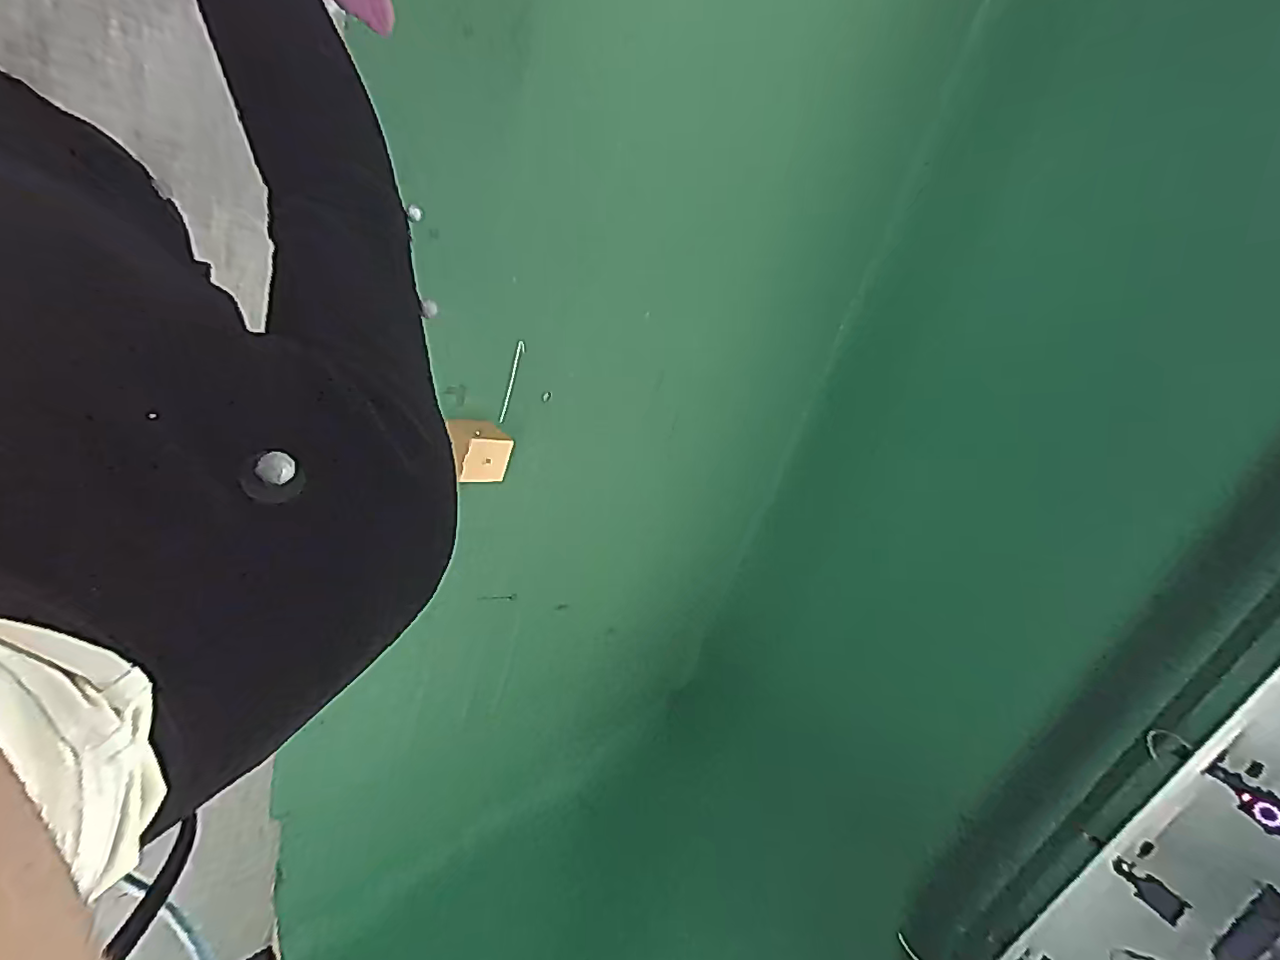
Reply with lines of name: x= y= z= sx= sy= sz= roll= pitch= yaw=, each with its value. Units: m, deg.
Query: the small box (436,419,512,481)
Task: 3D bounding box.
small box: x=-0.593 y=-0.107 z=1.922 sx=0.179 sy=0.176 sz=0.168 roll=-1 pitch=119 yaw=-49
